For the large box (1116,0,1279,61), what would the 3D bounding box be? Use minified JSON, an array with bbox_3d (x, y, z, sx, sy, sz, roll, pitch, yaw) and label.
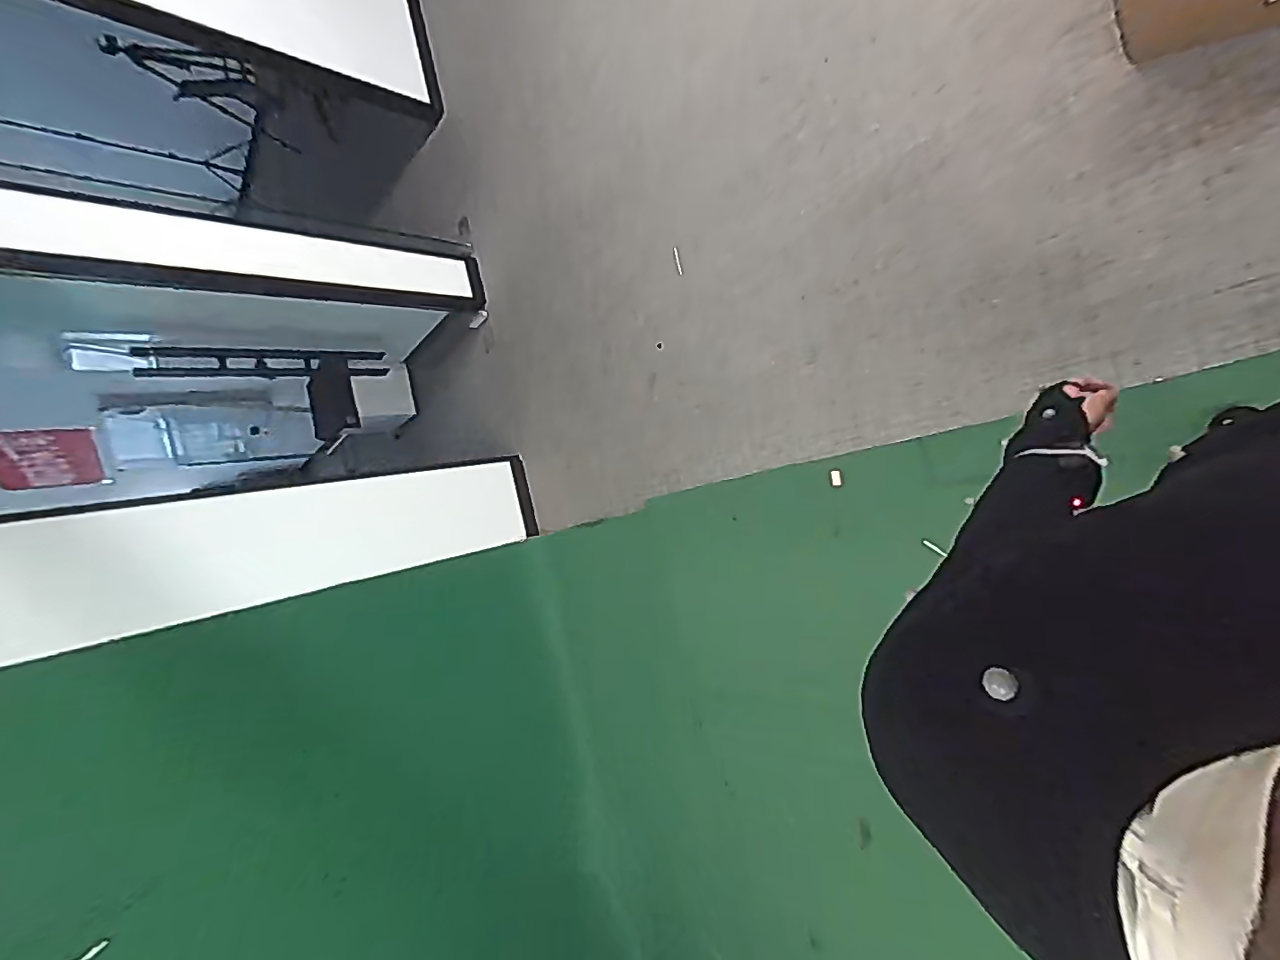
[{"bbox_3d":[1.095,-0.988,0.889,0.408,0.320,0.320,15,107,45],"label":"large box"}]
